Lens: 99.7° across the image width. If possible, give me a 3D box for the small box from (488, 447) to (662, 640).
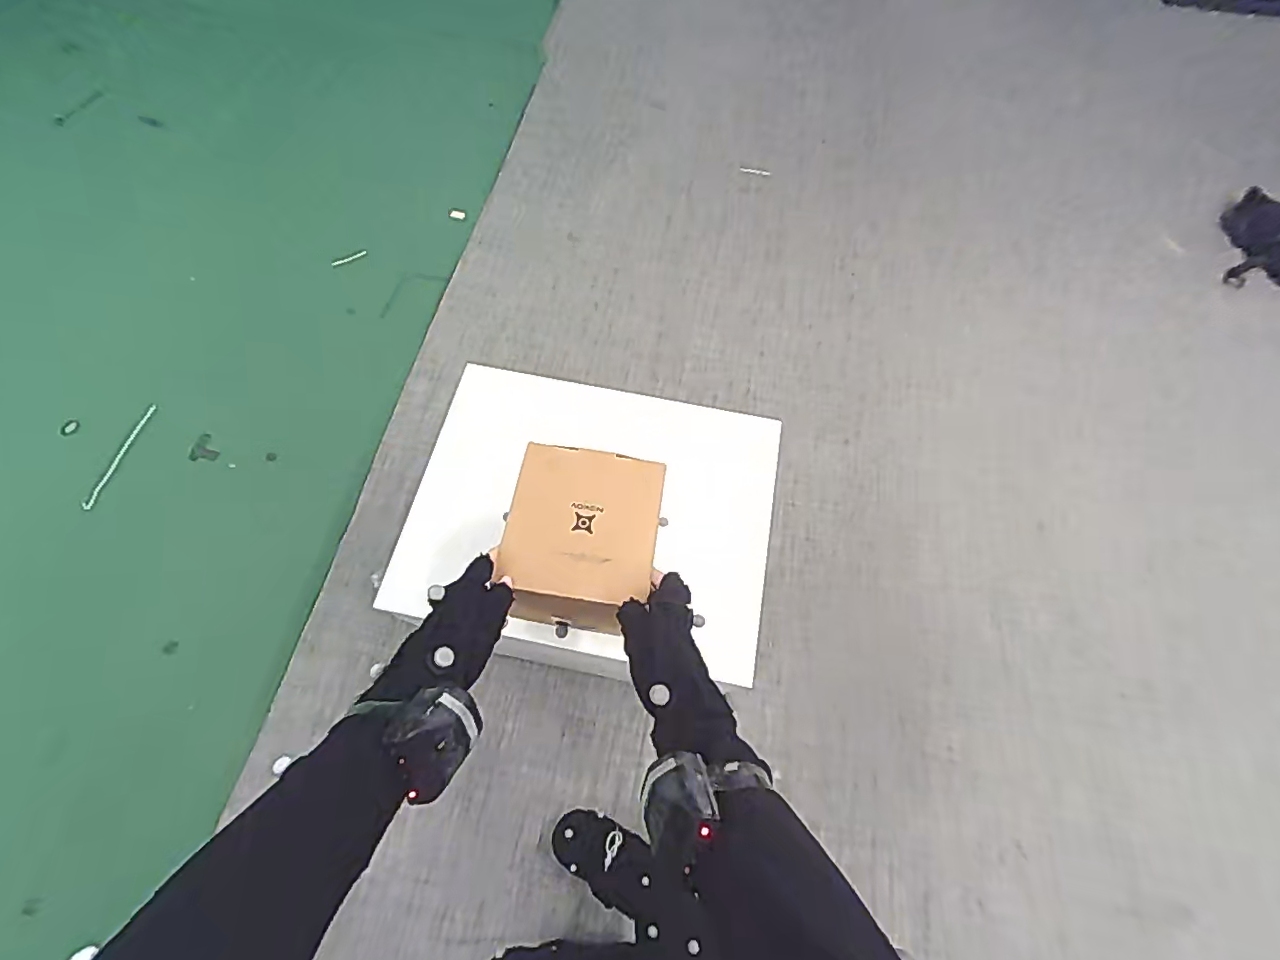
[{"bbox_3d":[-0.070,0.083,0.658,0.168,0.176,0.179,7,64,1],"label":"small box"}]
